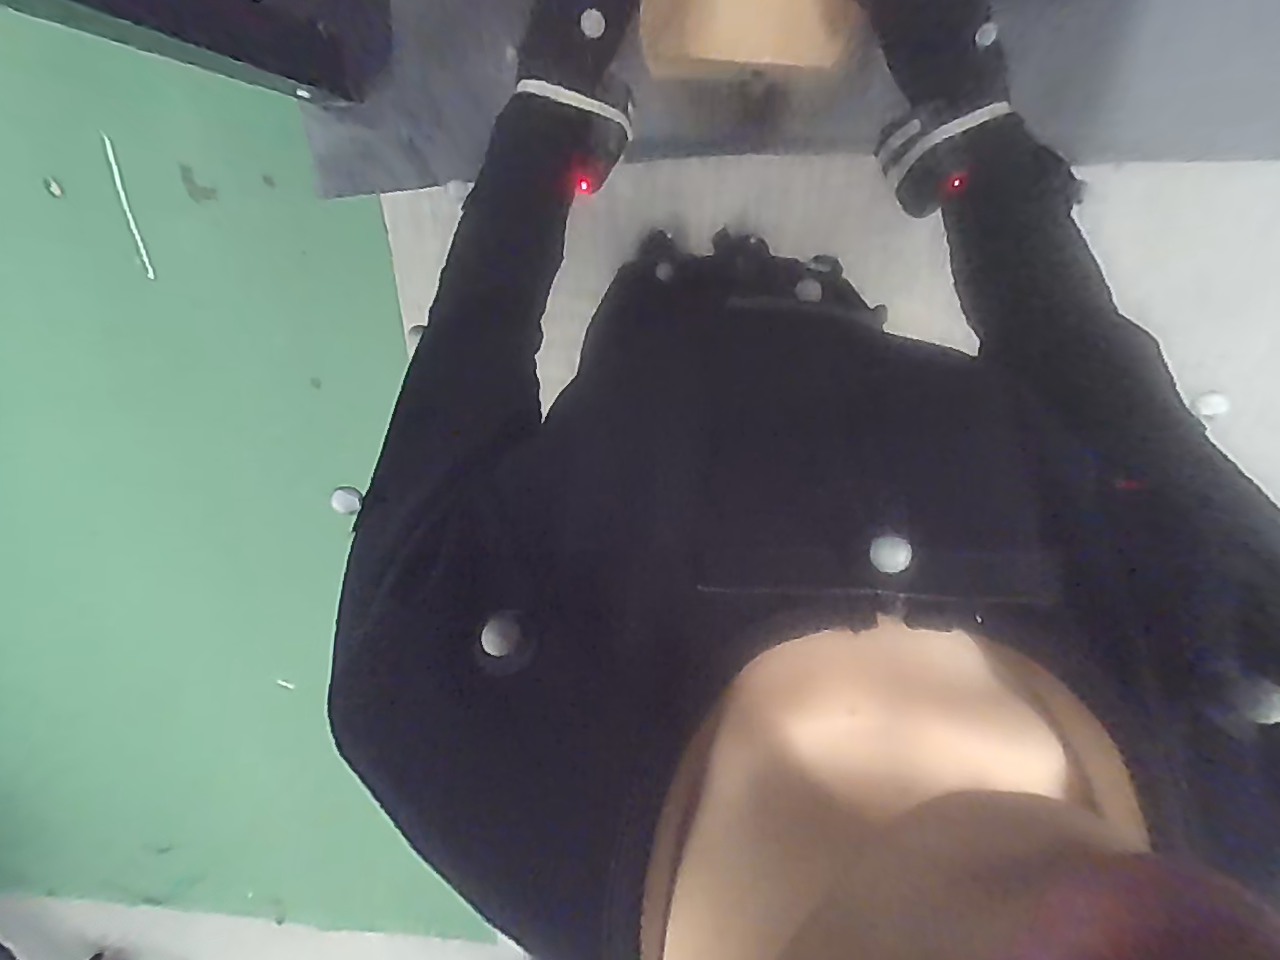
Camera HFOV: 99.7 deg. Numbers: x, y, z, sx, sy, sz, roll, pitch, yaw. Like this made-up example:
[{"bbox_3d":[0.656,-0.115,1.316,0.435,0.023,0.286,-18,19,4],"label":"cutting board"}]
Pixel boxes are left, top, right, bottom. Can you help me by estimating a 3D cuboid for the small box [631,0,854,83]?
[{"bbox_3d":[0.085,-0.437,0.436,0.168,0.176,0.179,6,126,2],"label":"small box"}]
